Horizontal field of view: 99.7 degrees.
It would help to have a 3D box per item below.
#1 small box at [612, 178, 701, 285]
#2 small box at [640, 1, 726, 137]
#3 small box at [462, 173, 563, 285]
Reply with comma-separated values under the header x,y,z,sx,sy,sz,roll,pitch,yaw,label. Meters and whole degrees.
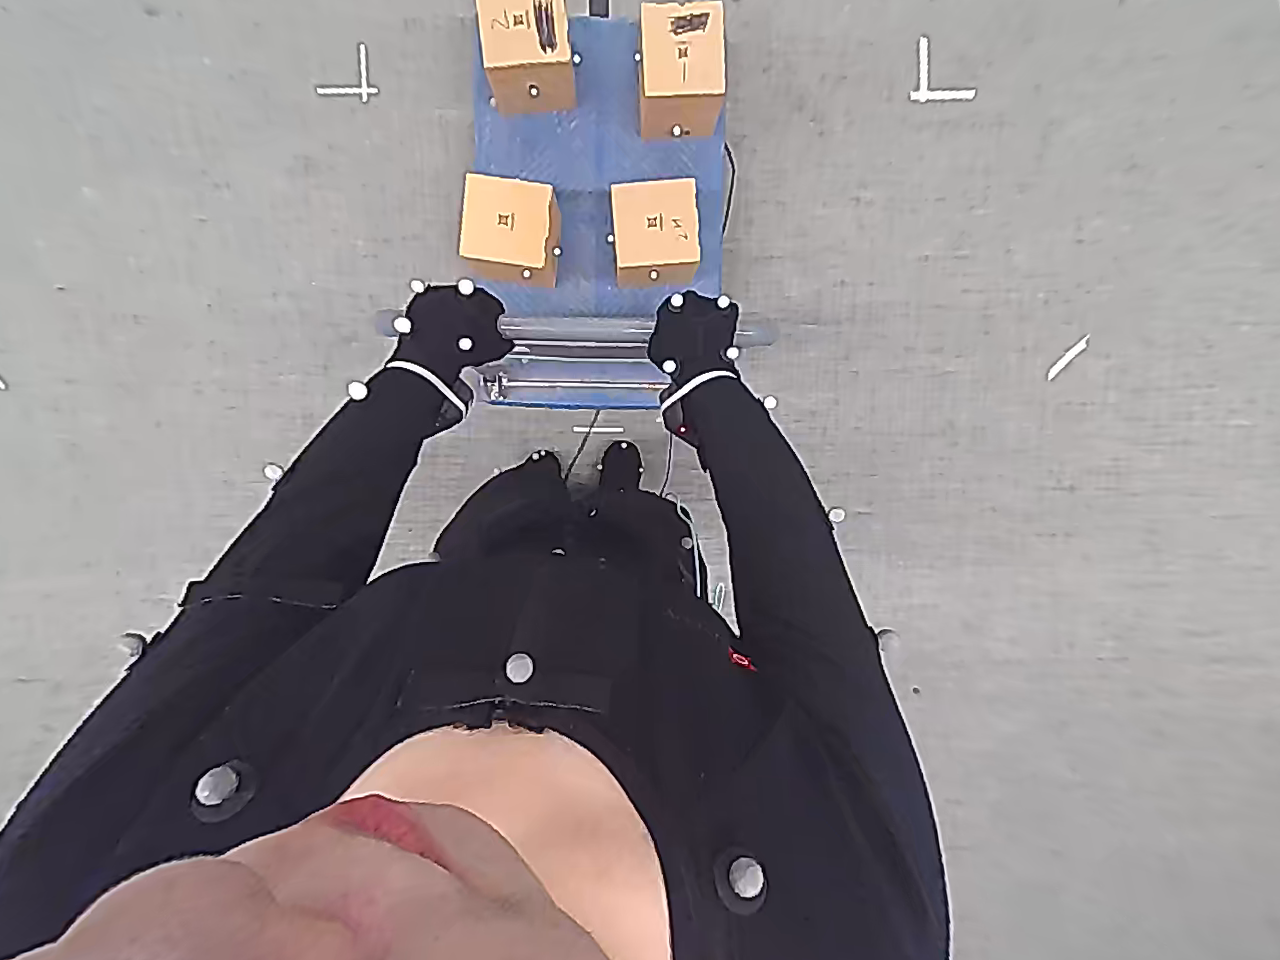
x,y,z,sx,sy,sz,roll,pitch,yaw,label
0.034,-0.539,1.192,0.179,0.176,0.168,-5,96,-1,small box
0.088,-0.872,1.162,0.168,0.176,0.179,-3,96,-1,small box
-0.272,-0.540,1.184,0.179,0.176,0.168,6,95,-4,small box
